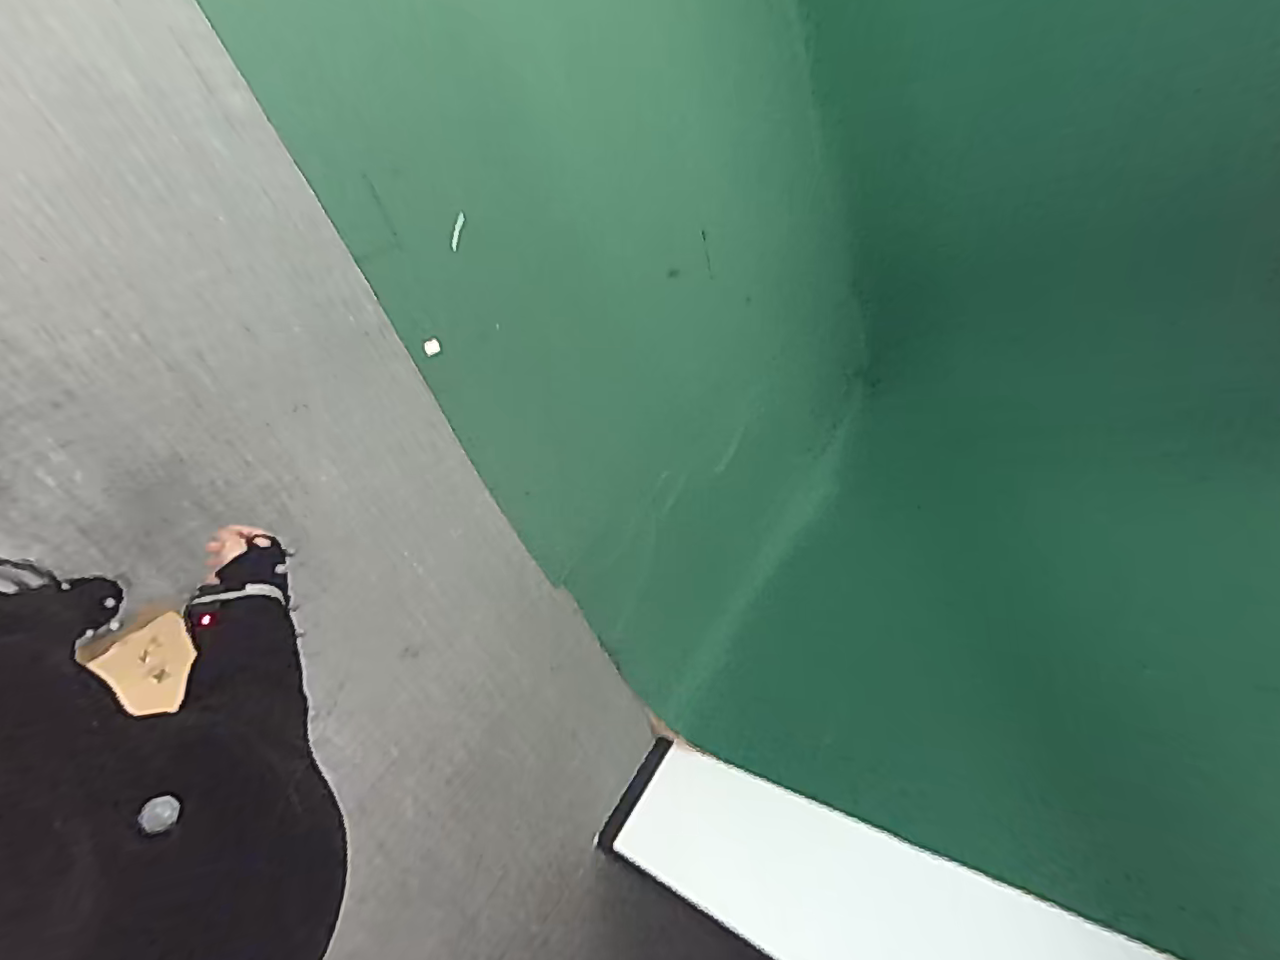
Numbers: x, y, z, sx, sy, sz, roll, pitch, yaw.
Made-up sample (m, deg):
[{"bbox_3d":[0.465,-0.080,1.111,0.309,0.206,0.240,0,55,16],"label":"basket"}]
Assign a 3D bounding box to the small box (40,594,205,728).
[{"bbox_3d":[-1.025,0.349,1.075,0.168,0.176,0.179,-45,123,-39],"label":"small box"}]
